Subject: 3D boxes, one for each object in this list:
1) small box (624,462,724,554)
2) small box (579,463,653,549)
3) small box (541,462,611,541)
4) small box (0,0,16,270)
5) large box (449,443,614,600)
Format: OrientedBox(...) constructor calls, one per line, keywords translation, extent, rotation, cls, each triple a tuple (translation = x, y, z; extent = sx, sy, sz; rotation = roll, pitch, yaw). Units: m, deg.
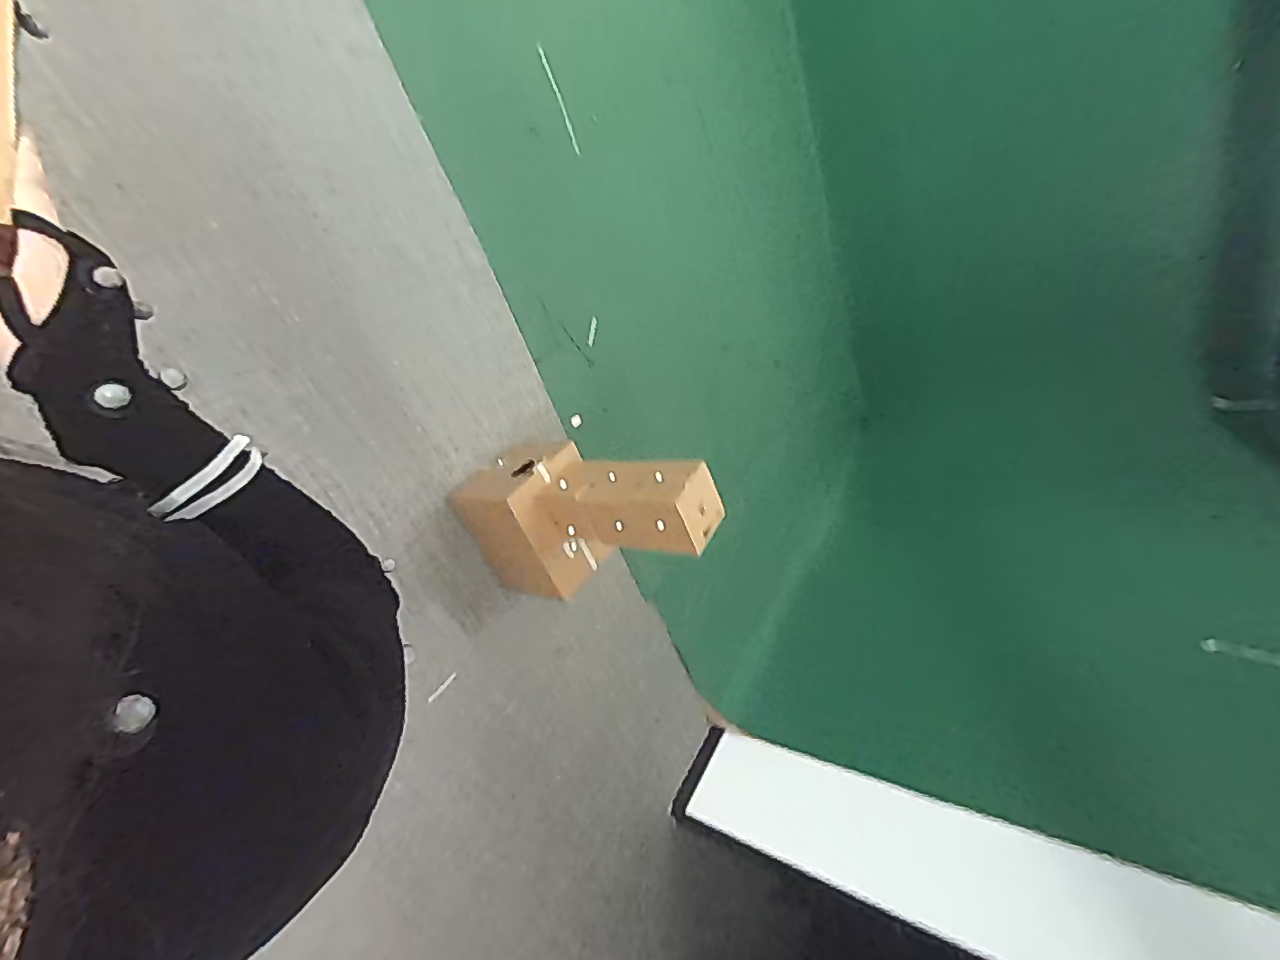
OrientedBox(translation=(0.086, 0.071, 1.393), extent=(0.168, 0.176, 0.179), rotation=(-50, 127, -37), cls="small box")
OrientedBox(translation=(-0.040, 0.070, 1.499), extent=(0.168, 0.176, 0.179), rotation=(-52, 129, -36), cls="small box")
OrientedBox(translation=(-0.169, 0.062, 1.601), extent=(0.179, 0.176, 0.168), rotation=(-49, 127, -39), cls="small box")
OrientedBox(translation=(-0.474, -0.233, 0.298), extent=(0.168, 0.176, 0.179), rotation=(-4, 94, -49), cls="small box")
OrientedBox(translation=(-0.341, 0.126, 1.776), extent=(0.320, 0.320, 0.408), rotation=(-47, 126, -39), cls="large box")
